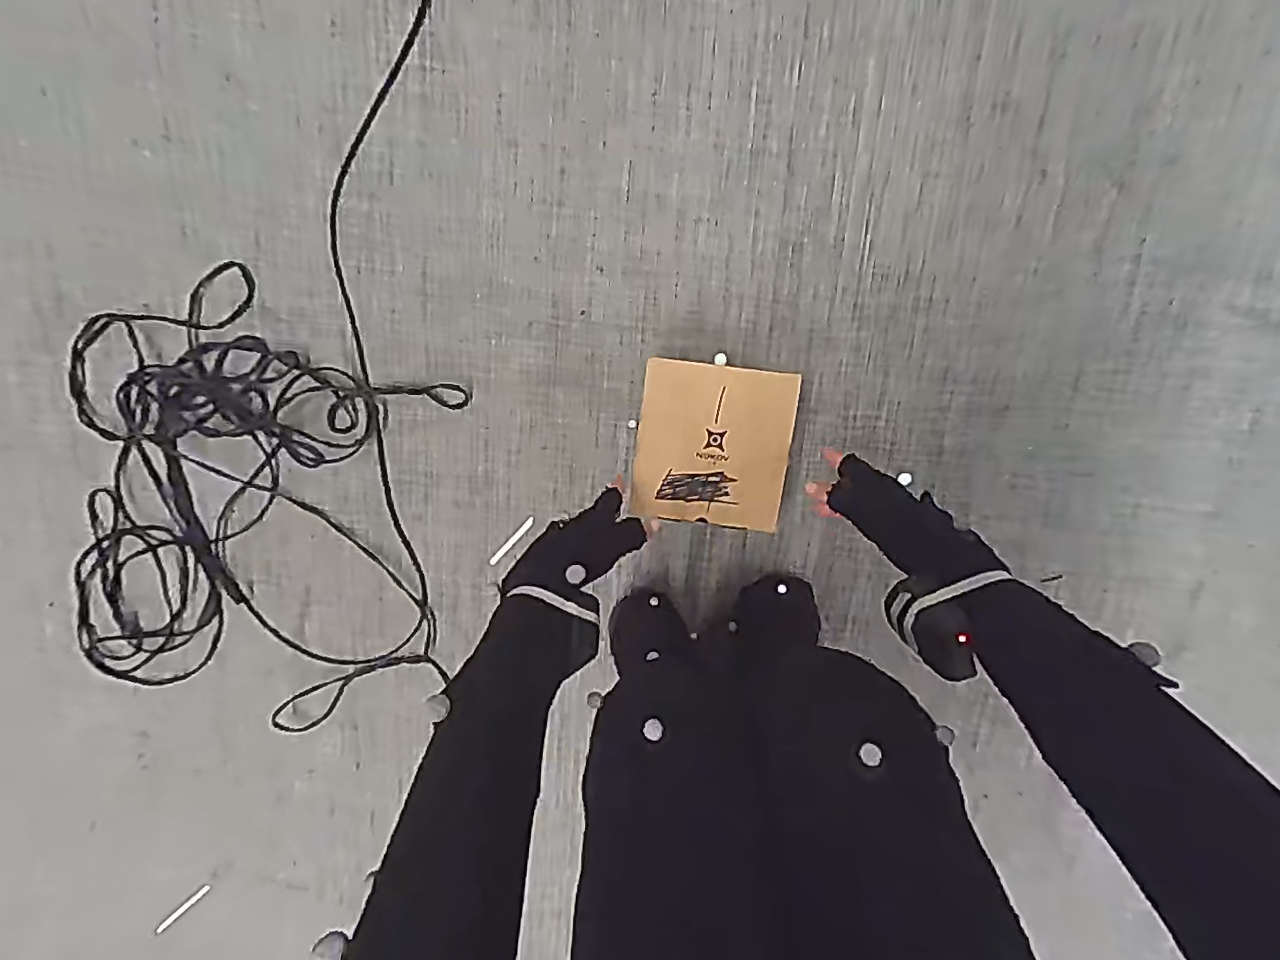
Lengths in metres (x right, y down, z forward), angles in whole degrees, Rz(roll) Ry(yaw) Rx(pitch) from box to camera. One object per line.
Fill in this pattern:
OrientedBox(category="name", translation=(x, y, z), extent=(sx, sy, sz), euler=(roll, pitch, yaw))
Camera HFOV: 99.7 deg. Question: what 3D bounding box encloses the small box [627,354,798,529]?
OrientedBox(category="small box", translation=(0.081, -0.055, 0.666), extent=(0.168, 0.176, 0.179), euler=(7, 101, 0))
